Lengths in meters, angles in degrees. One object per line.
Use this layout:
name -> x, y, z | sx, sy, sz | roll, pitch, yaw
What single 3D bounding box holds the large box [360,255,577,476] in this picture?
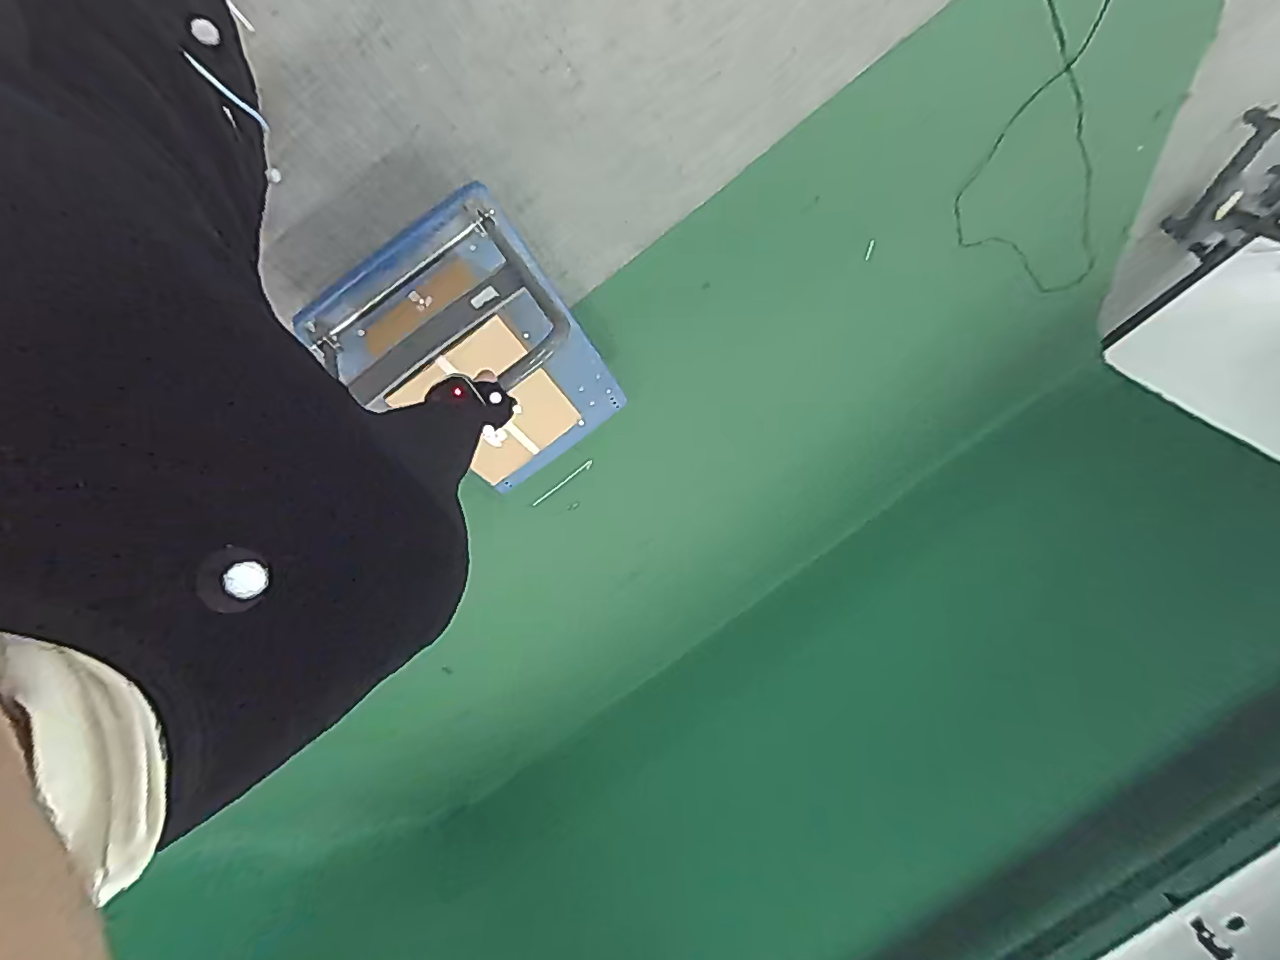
large box -> -0.439, -0.287, 1.409 | 0.320, 0.320, 0.408 | -36, 143, 3
